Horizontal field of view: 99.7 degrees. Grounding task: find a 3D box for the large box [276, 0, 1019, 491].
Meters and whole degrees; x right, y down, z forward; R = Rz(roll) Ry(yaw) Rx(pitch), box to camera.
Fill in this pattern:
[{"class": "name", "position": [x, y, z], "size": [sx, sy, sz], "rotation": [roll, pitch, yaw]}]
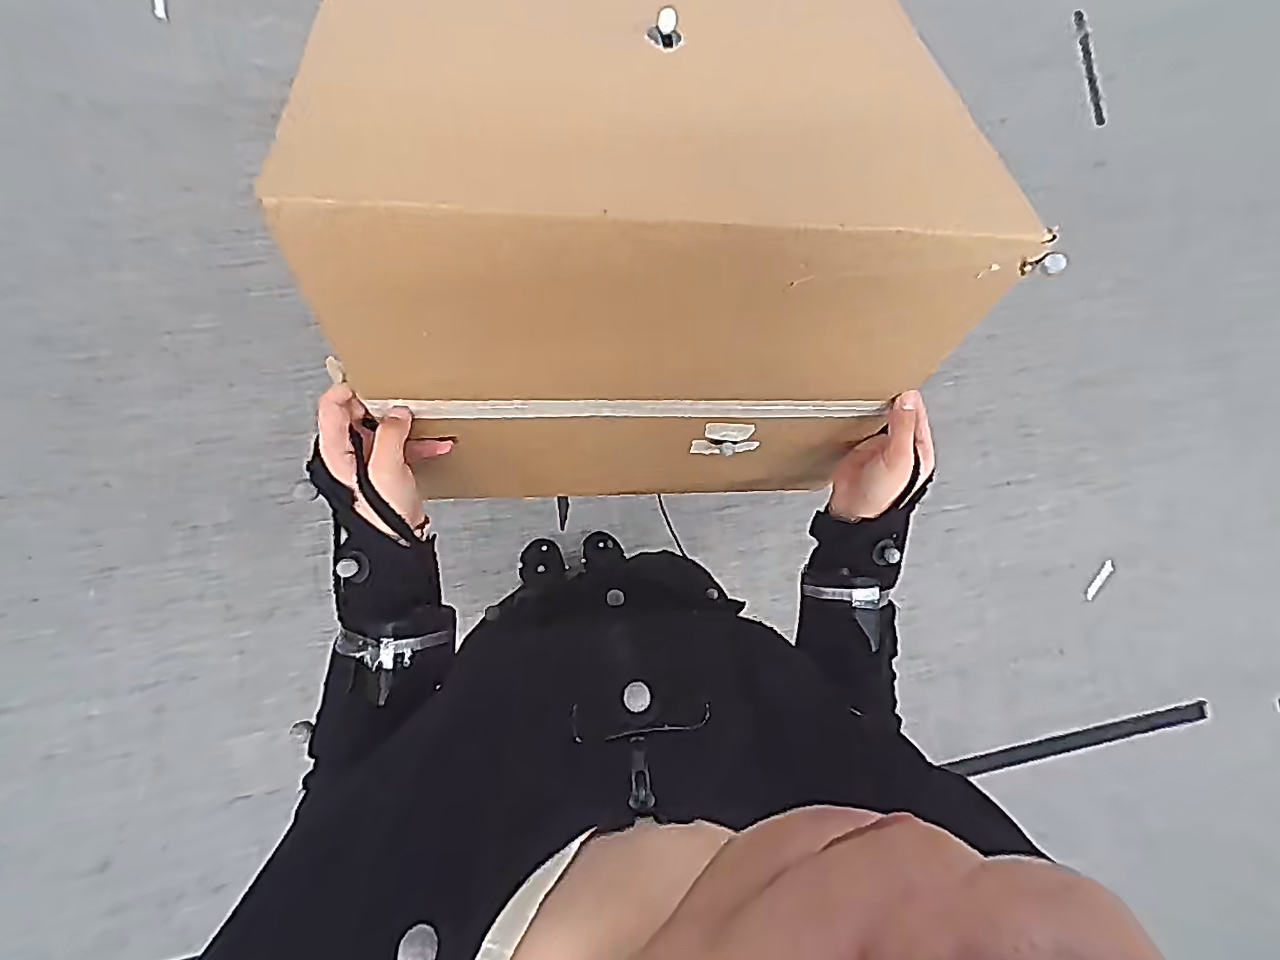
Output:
[{"class": "large box", "position": [-0.011, -0.200, 0.478], "size": [0.408, 0.320, 0.320], "rotation": [-2, 64, -9]}]
